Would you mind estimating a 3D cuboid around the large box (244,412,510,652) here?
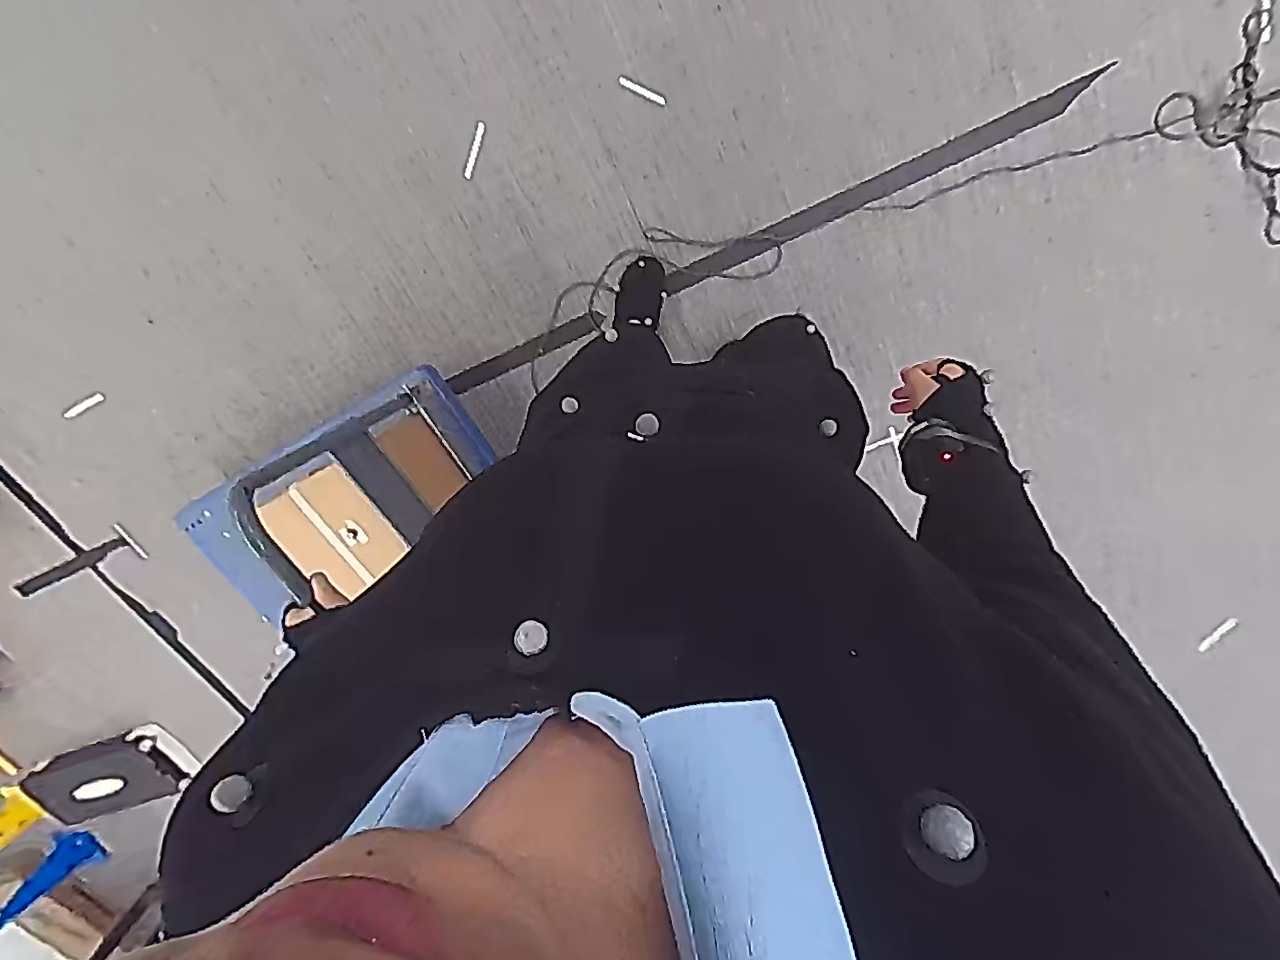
[{"bbox_3d":[-0.574,0.112,1.266,0.320,0.320,0.408,-26,109,13],"label":"large box"}]
